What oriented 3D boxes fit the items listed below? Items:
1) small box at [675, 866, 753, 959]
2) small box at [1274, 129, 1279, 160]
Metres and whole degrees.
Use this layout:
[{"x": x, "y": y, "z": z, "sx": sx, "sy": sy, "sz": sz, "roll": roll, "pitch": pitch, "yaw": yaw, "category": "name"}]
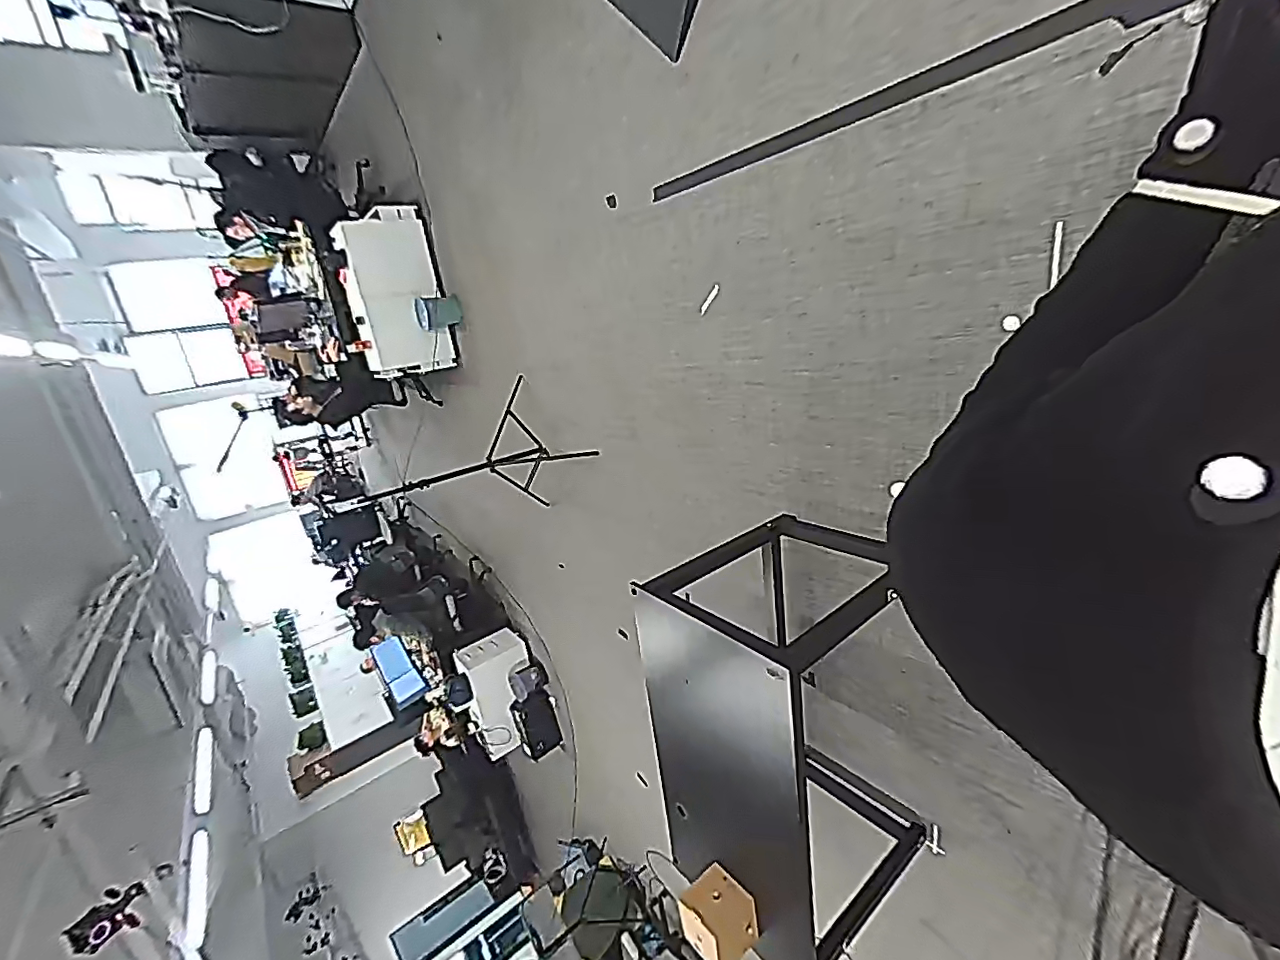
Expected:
[{"x": 0.230, "y": 1.355, "z": 1.671, "sx": 0.168, "sy": 0.176, "sz": 0.179, "roll": 12, "pitch": 116, "yaw": 52, "category": "small box"}, {"x": 0.955, "y": -0.520, "z": 0.685, "sx": 0.168, "sy": 0.176, "sz": 0.179, "roll": 15, "pitch": 120, "yaw": 51, "category": "small box"}]
